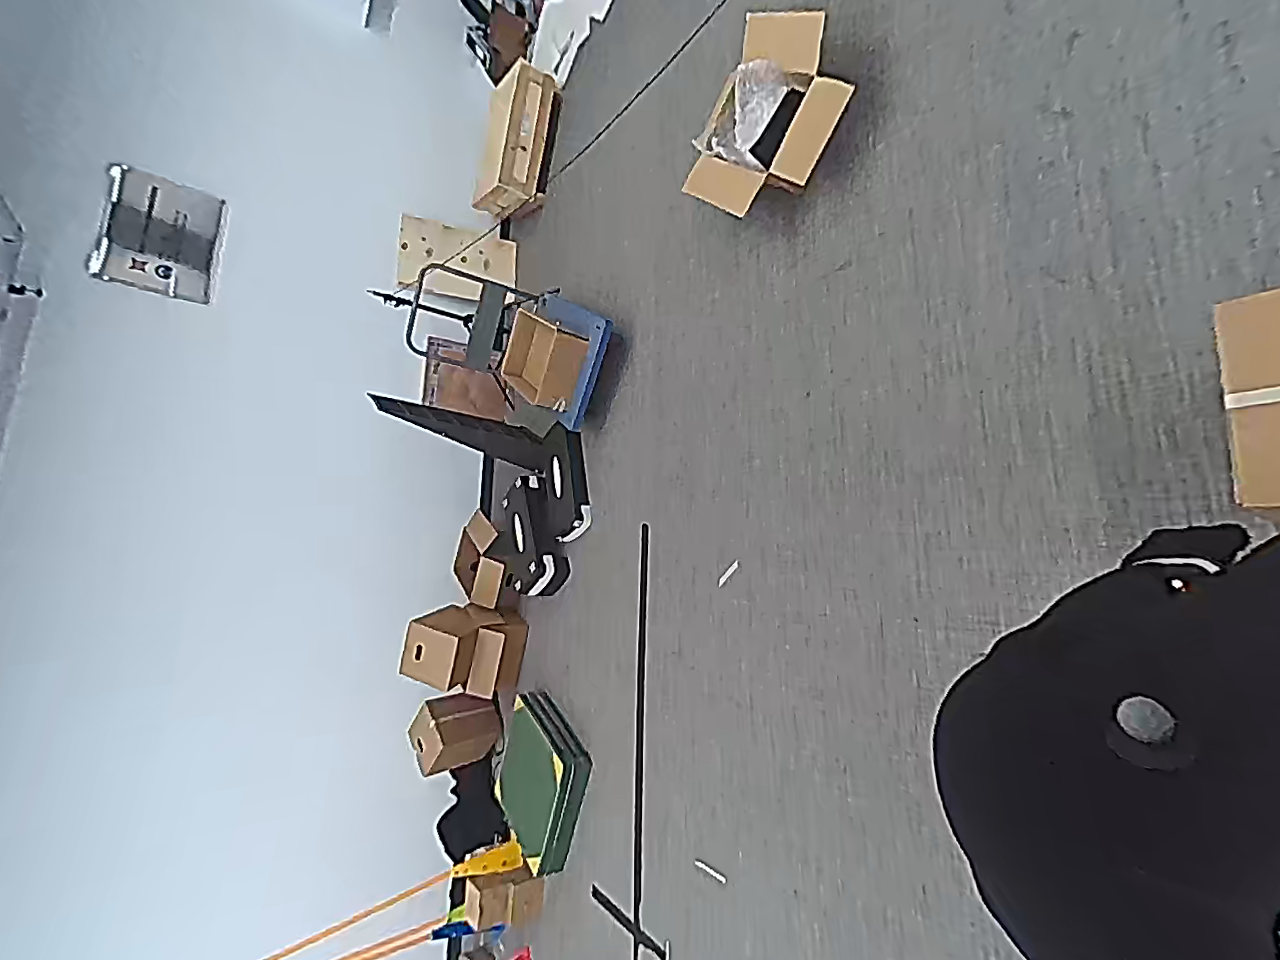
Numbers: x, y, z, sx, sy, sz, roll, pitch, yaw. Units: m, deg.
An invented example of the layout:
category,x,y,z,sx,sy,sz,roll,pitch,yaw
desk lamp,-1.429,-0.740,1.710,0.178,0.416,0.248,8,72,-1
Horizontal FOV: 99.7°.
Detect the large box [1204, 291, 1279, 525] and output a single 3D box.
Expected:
category,x,y,z,sx,sy,sz,roll,pitch,yaw
large box,1.098,-0.114,0.735,0.408,0.320,0.320,-10,75,53
